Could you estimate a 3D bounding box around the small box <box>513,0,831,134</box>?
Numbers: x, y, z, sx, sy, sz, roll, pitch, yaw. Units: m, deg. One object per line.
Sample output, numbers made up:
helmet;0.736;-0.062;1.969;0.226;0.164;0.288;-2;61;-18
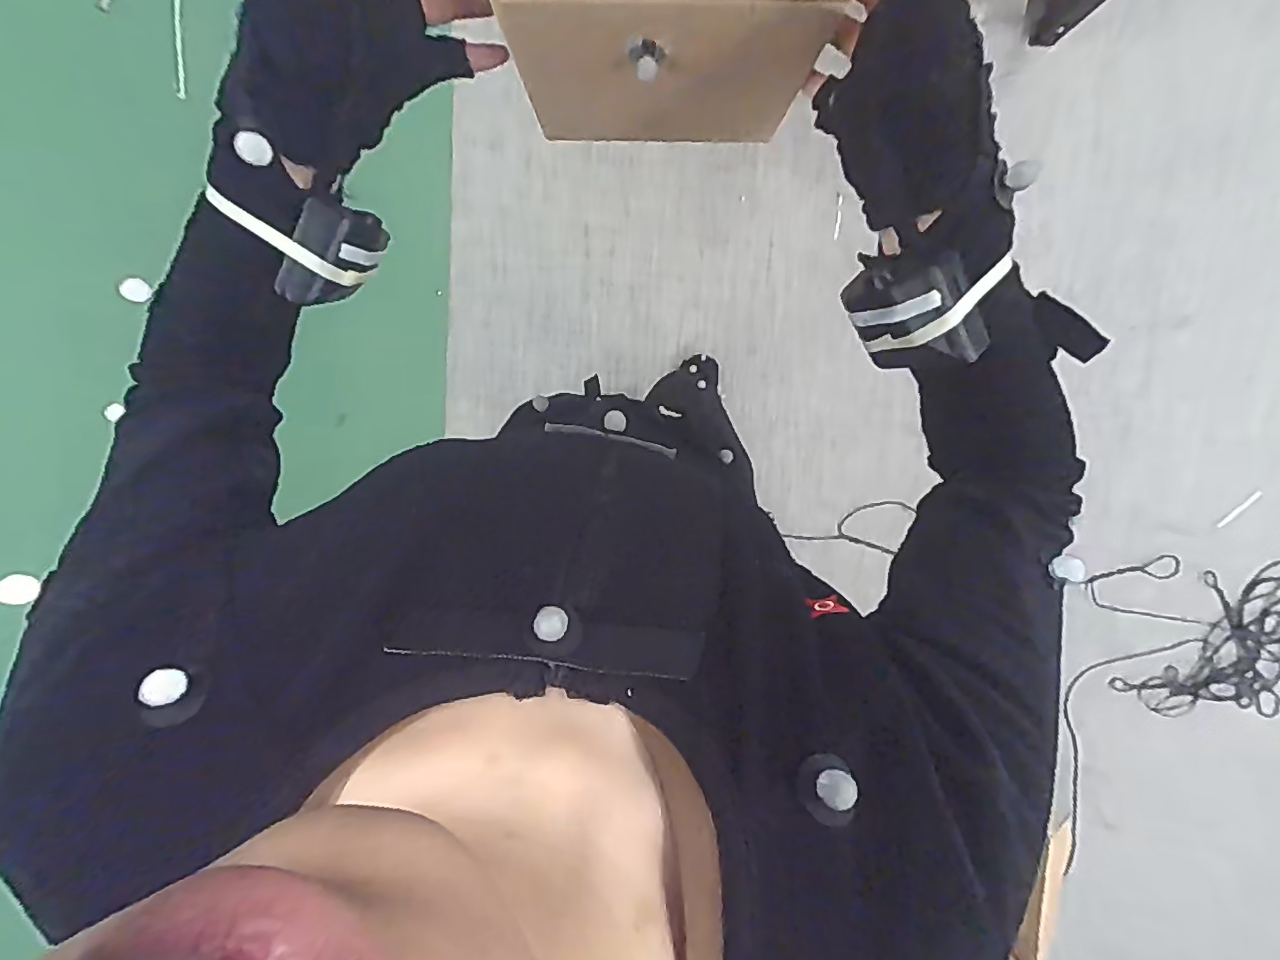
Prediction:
small box;0.016;-0.333;0.327;0.179;0.176;0.168;0;102;-1
